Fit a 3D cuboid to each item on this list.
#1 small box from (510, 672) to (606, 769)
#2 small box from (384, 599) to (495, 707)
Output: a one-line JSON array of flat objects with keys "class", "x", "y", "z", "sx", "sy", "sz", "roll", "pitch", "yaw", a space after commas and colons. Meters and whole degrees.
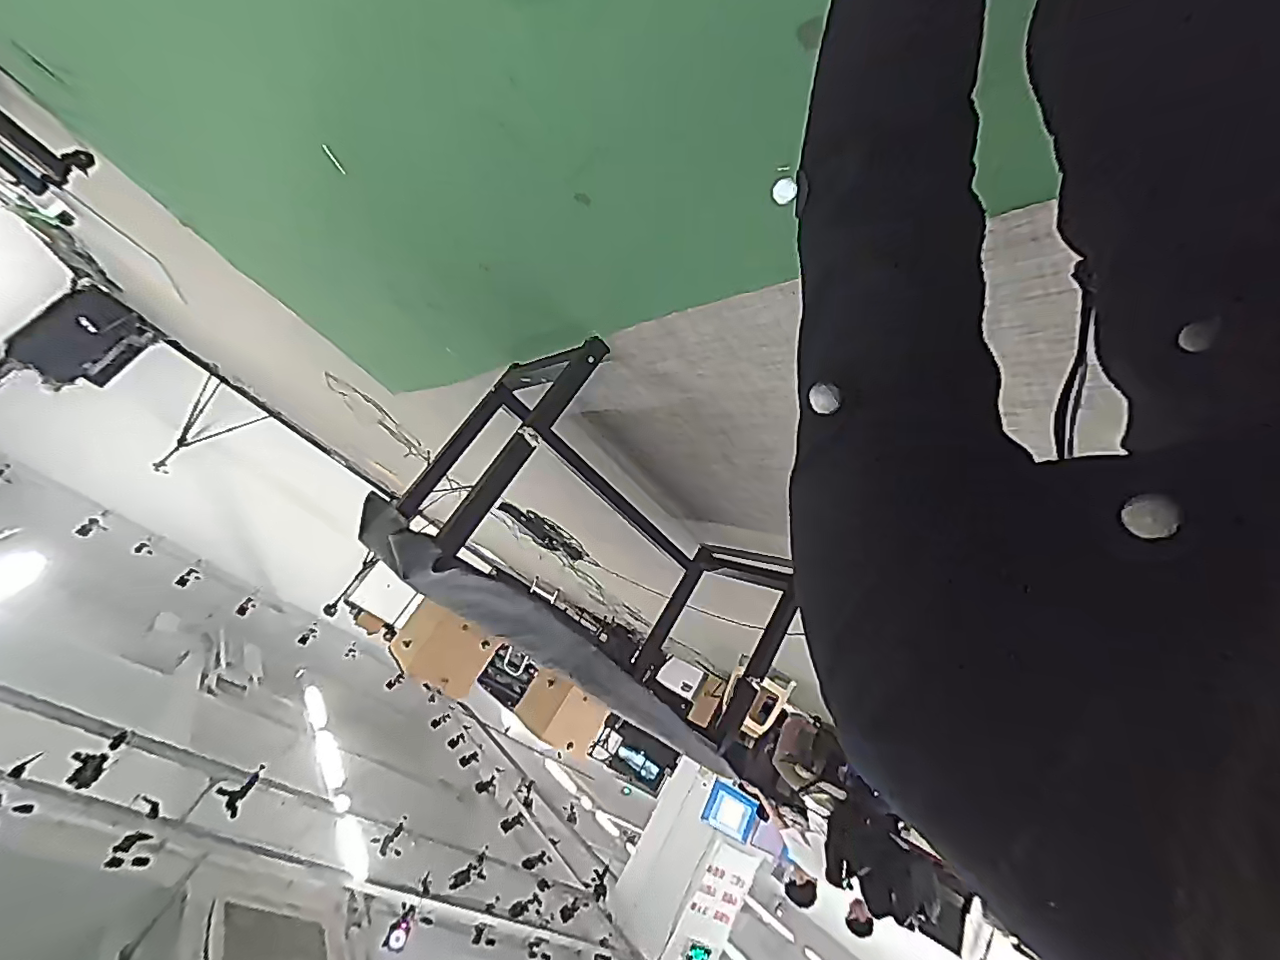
[{"class": "small box", "x": -0.227, "y": 0.669, "z": 1.526, "sx": 0.168, "sy": 0.176, "sz": 0.179, "roll": 45, "pitch": 158, "yaw": -30}, {"class": "small box", "x": -0.479, "y": 0.410, "z": 1.309, "sx": 0.168, "sy": 0.176, "sz": 0.179, "roll": 45, "pitch": 159, "yaw": -30}]
